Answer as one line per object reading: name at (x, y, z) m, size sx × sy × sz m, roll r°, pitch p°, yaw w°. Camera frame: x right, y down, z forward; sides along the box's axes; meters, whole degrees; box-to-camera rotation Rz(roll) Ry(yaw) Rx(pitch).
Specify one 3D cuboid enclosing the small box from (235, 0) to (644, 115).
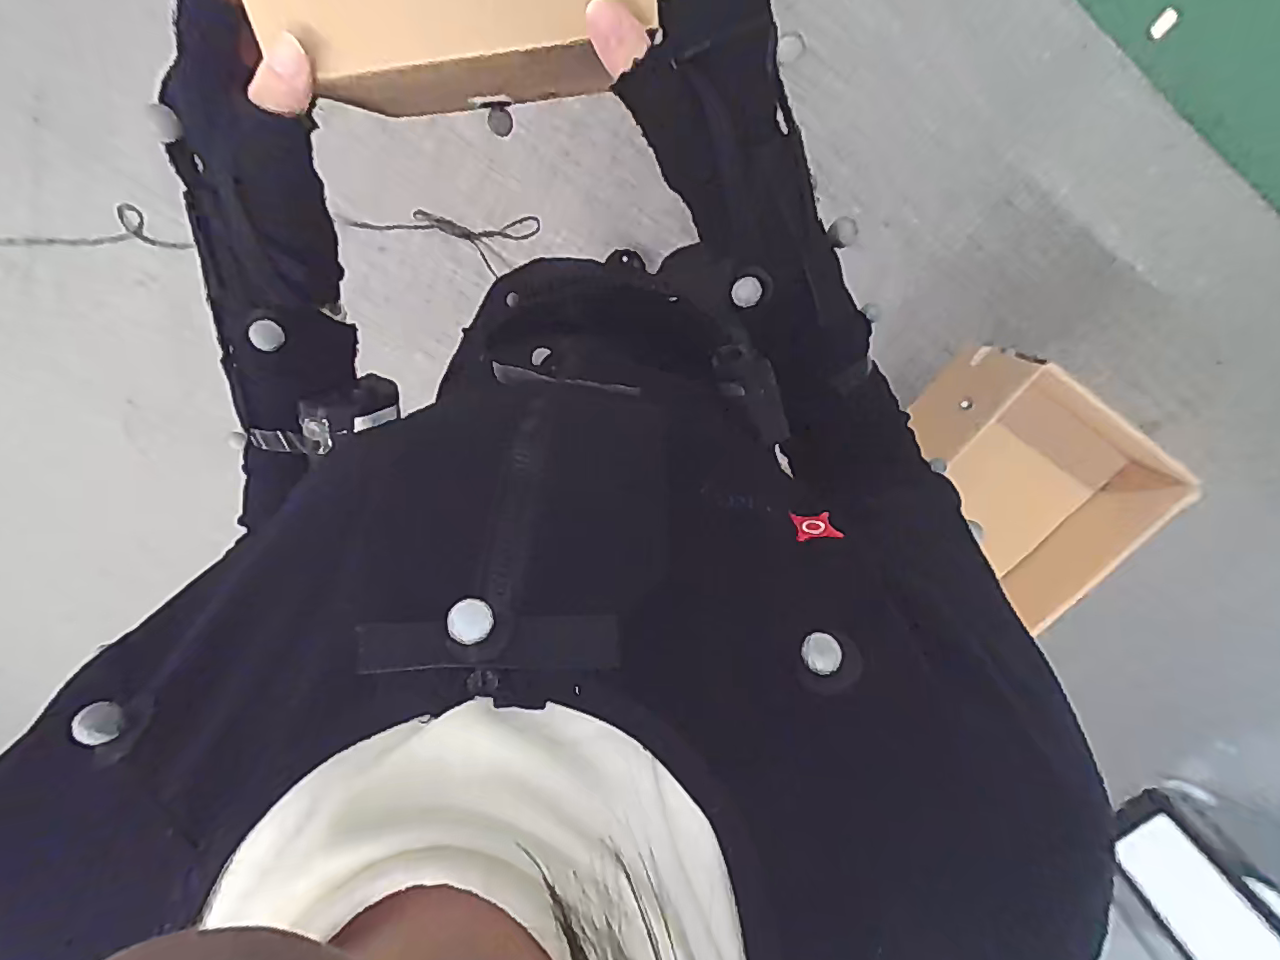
small box at (-0.093, -0.295, 0.256) m, size 0.168 × 0.176 × 0.179 m, roll -8°, pitch 119°, yaw 2°
